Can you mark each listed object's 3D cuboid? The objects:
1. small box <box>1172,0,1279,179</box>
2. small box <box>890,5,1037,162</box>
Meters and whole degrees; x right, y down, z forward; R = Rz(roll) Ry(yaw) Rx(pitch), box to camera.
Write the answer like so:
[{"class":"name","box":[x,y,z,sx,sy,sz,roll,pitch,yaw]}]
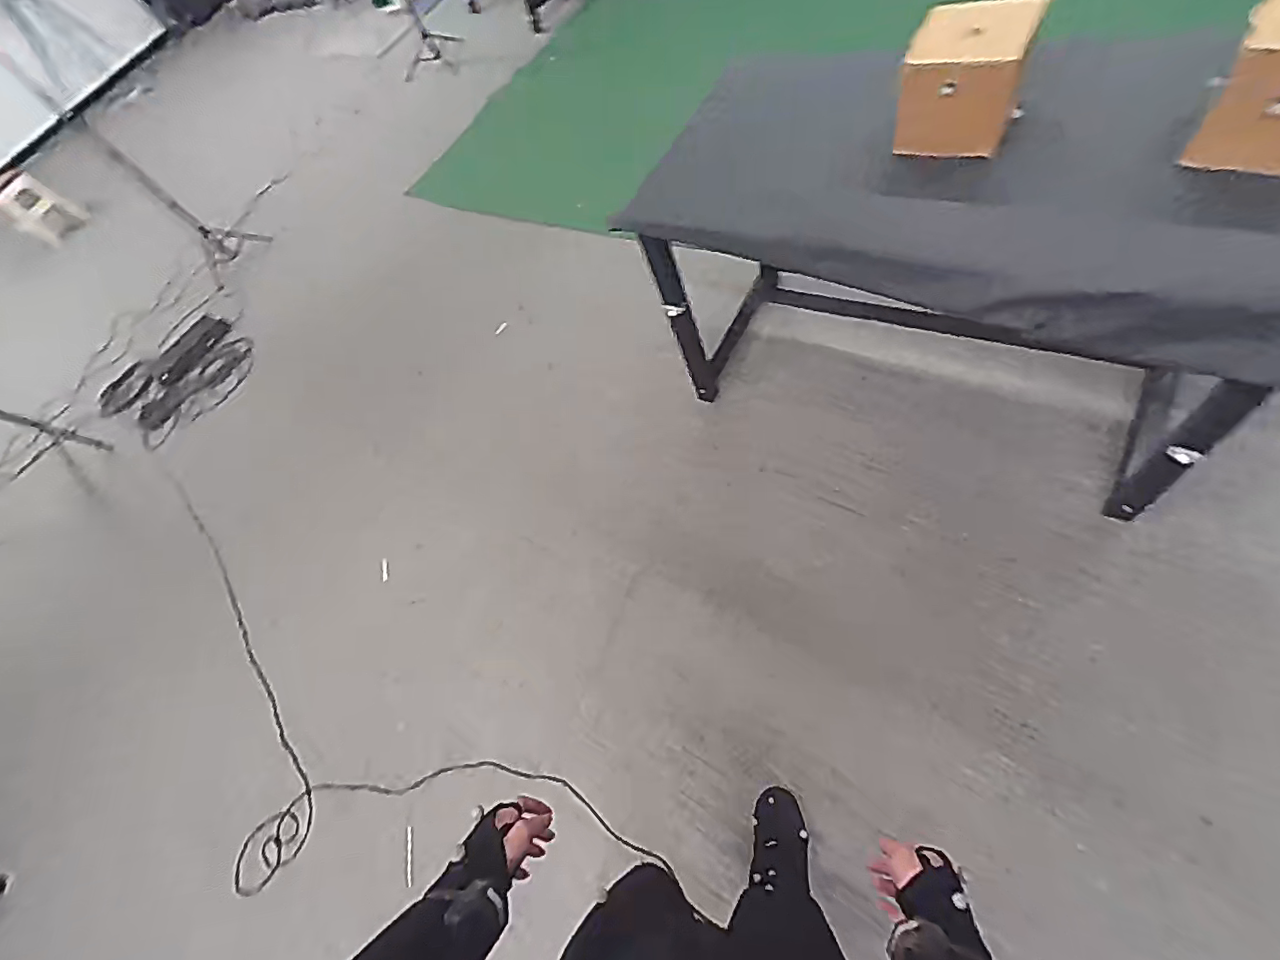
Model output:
[{"class":"small box","box":[0.922,-0.559,0.766,0.179,0.176,0.168,28,76,31]},{"class":"small box","box":[0.571,-0.709,0.980,0.179,0.176,0.168,22,73,27]}]
